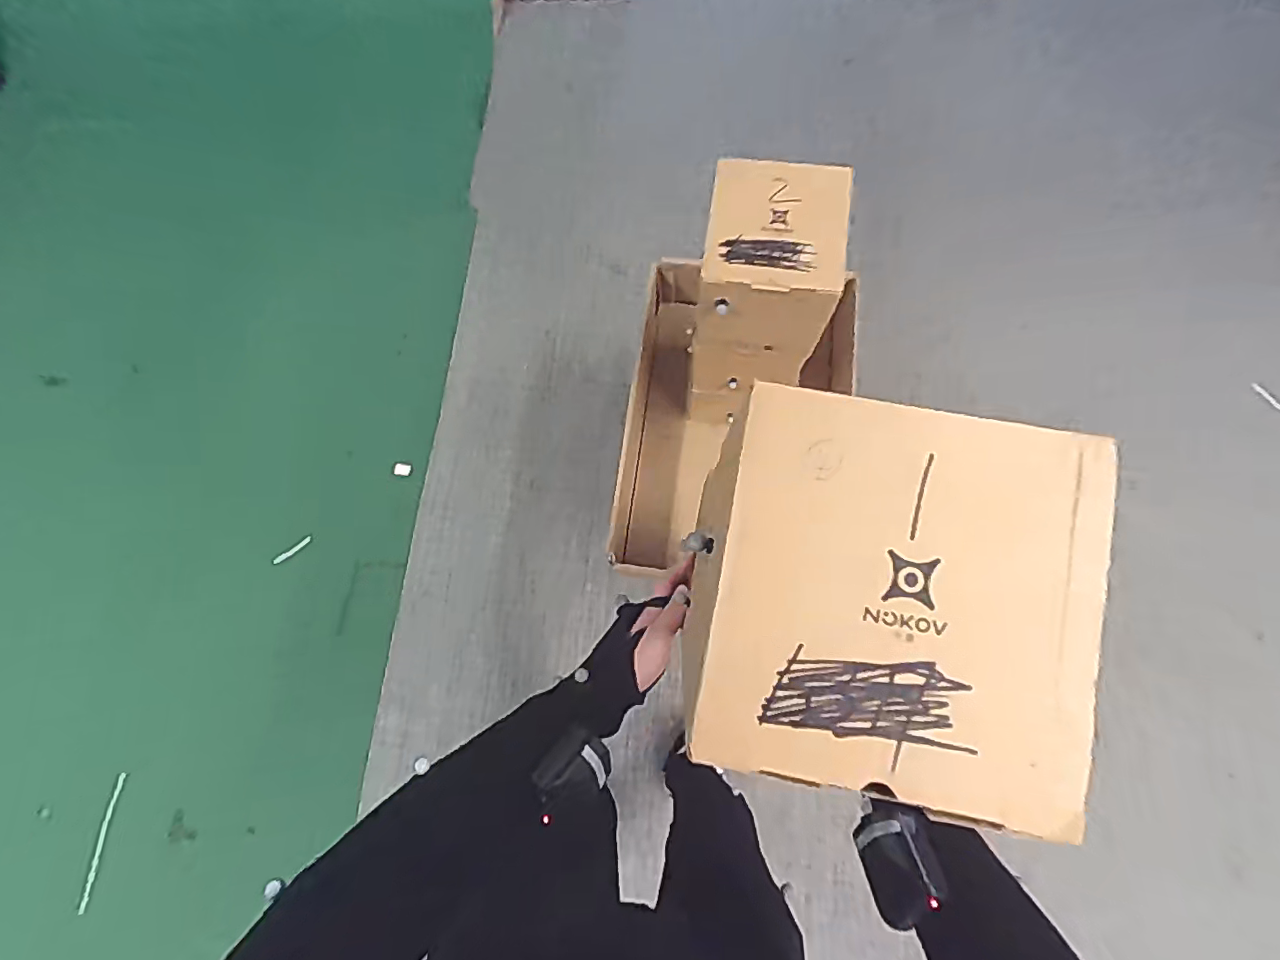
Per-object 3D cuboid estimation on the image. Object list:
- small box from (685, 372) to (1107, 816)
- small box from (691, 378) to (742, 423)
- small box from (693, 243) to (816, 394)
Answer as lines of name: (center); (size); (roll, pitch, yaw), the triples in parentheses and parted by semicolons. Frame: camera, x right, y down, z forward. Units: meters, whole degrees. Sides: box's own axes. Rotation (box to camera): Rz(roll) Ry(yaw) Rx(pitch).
small box: (0.123, 0.055, 0.326); (0.168, 0.176, 0.179); (10, 84, 4)
small box: (0.191, -0.218, 1.042); (0.168, 0.176, 0.179); (7, 77, 6)
small box: (0.179, -0.254, 0.885); (0.168, 0.176, 0.179); (7, 78, 5)
